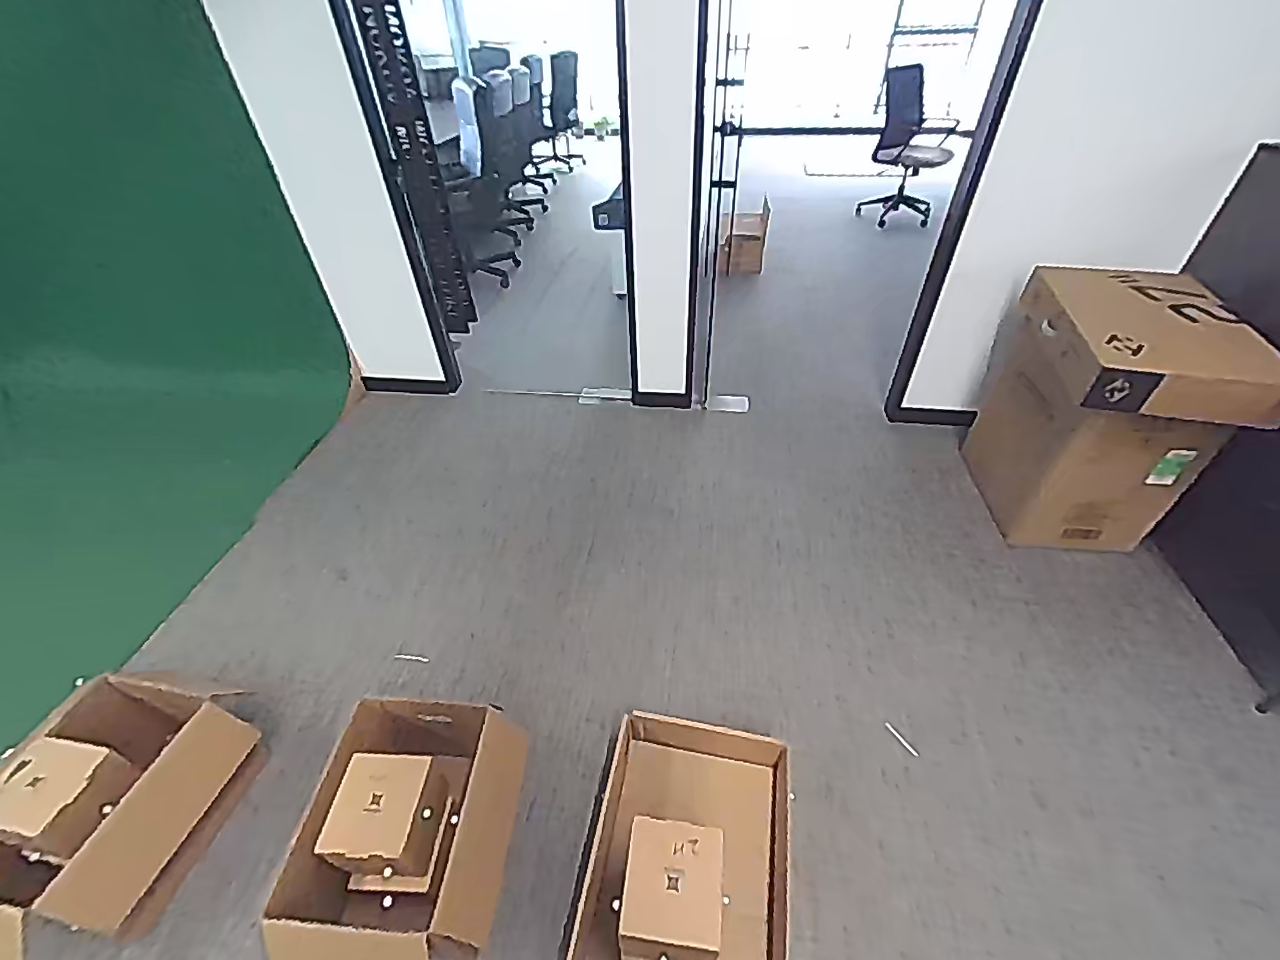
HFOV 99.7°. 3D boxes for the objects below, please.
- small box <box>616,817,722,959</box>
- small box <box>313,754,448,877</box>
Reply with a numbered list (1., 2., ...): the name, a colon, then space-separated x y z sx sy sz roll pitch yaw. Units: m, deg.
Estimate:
1. small box: 0.055 0.737 0.963 0.168 0.176 0.179 5 40 6
2. small box: -0.507 0.679 1.090 0.168 0.176 0.179 2 43 3
